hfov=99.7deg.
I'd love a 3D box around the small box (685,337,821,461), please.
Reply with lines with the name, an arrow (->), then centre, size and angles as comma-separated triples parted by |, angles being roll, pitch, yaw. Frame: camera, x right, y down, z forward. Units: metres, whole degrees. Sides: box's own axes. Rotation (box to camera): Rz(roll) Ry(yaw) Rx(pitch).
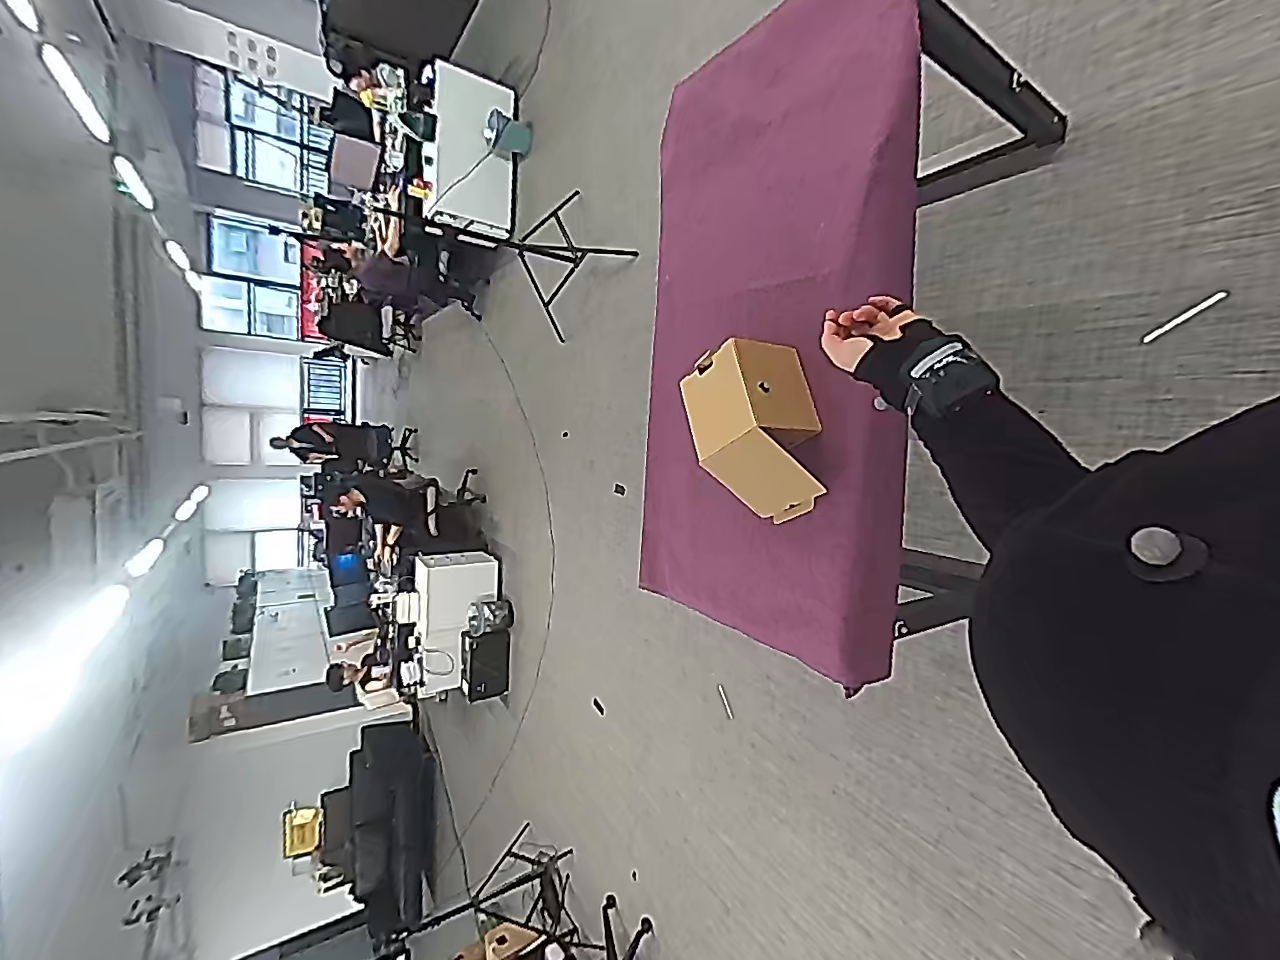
small box -> 0.213, -0.145, 1.023 | 0.168, 0.176, 0.179 | -35, 61, 52
